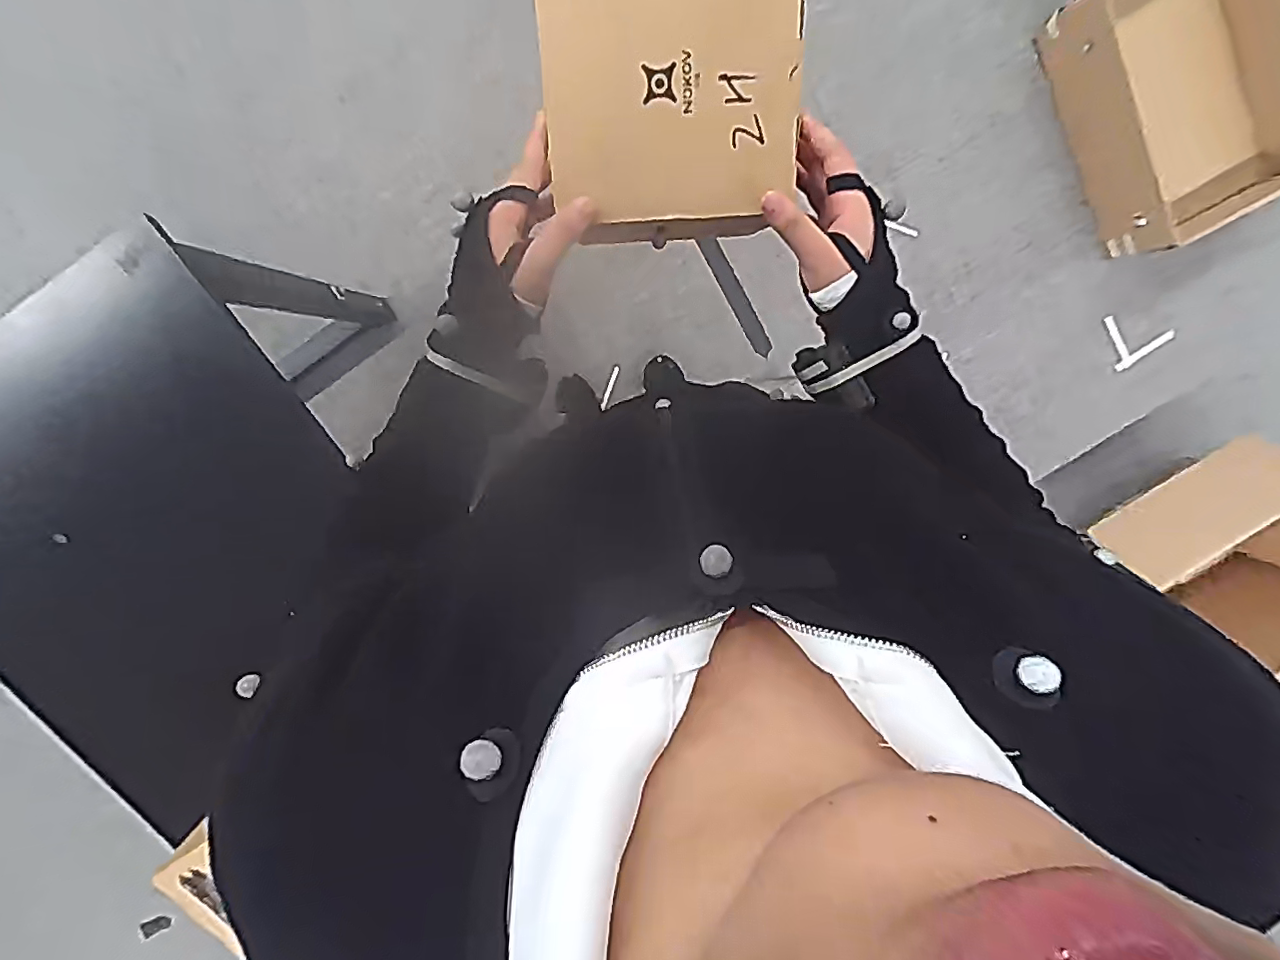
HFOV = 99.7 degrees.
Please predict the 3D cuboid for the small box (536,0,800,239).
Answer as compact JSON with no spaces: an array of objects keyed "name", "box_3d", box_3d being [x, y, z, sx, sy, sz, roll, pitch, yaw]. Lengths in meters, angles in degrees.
[{"name":"small box","box_3d":[0.021,-0.298,0.445,0.179,0.176,0.168,-3,110,0]}]
